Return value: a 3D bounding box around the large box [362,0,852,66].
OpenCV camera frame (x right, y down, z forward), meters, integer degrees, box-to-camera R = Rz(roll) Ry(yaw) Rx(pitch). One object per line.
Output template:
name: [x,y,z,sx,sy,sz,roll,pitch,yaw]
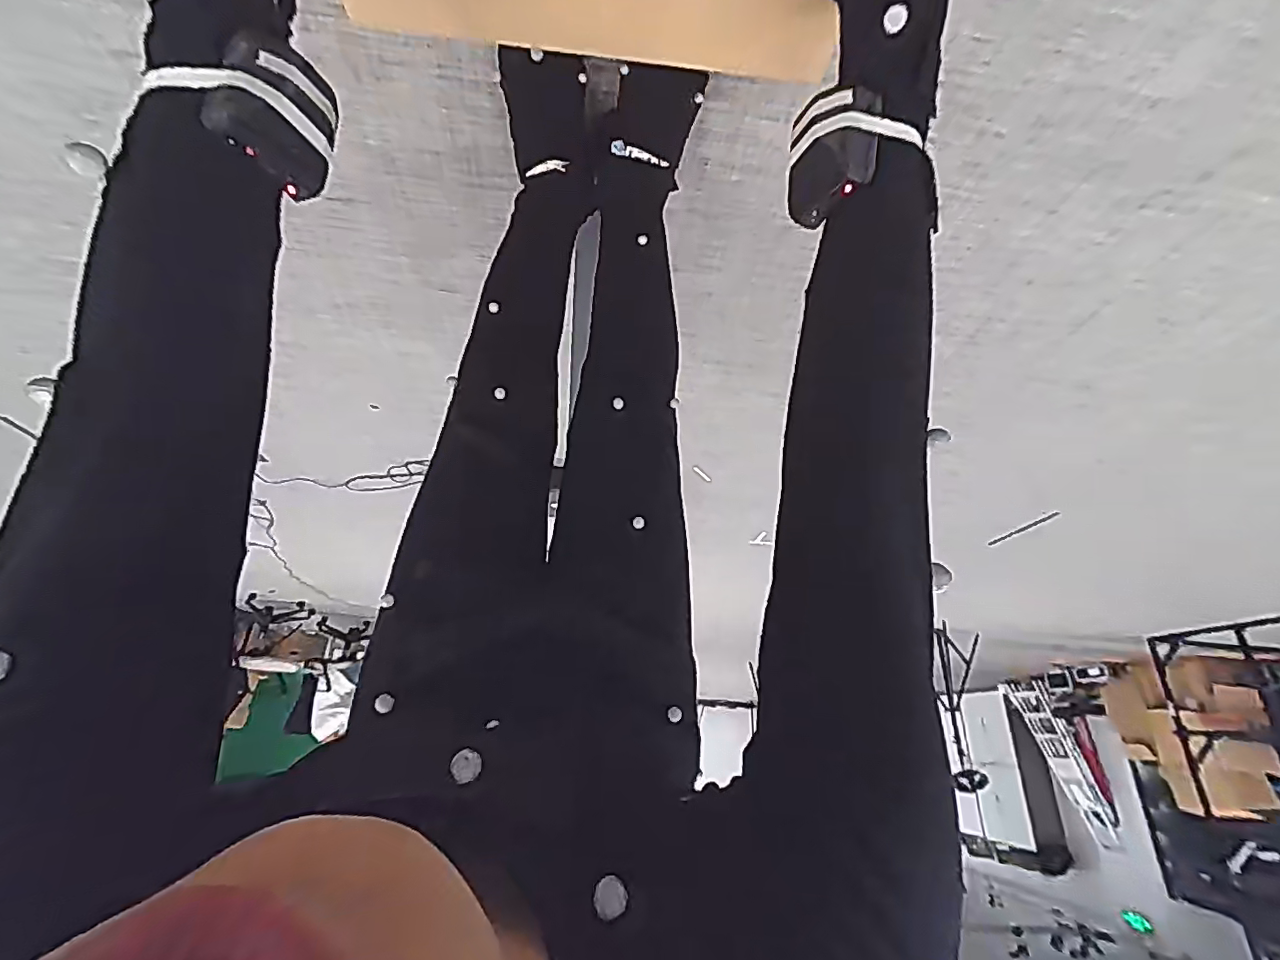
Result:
large box: [-0.017,-0.573,0.392,0.408,0.320,0.320,4,155,-4]
